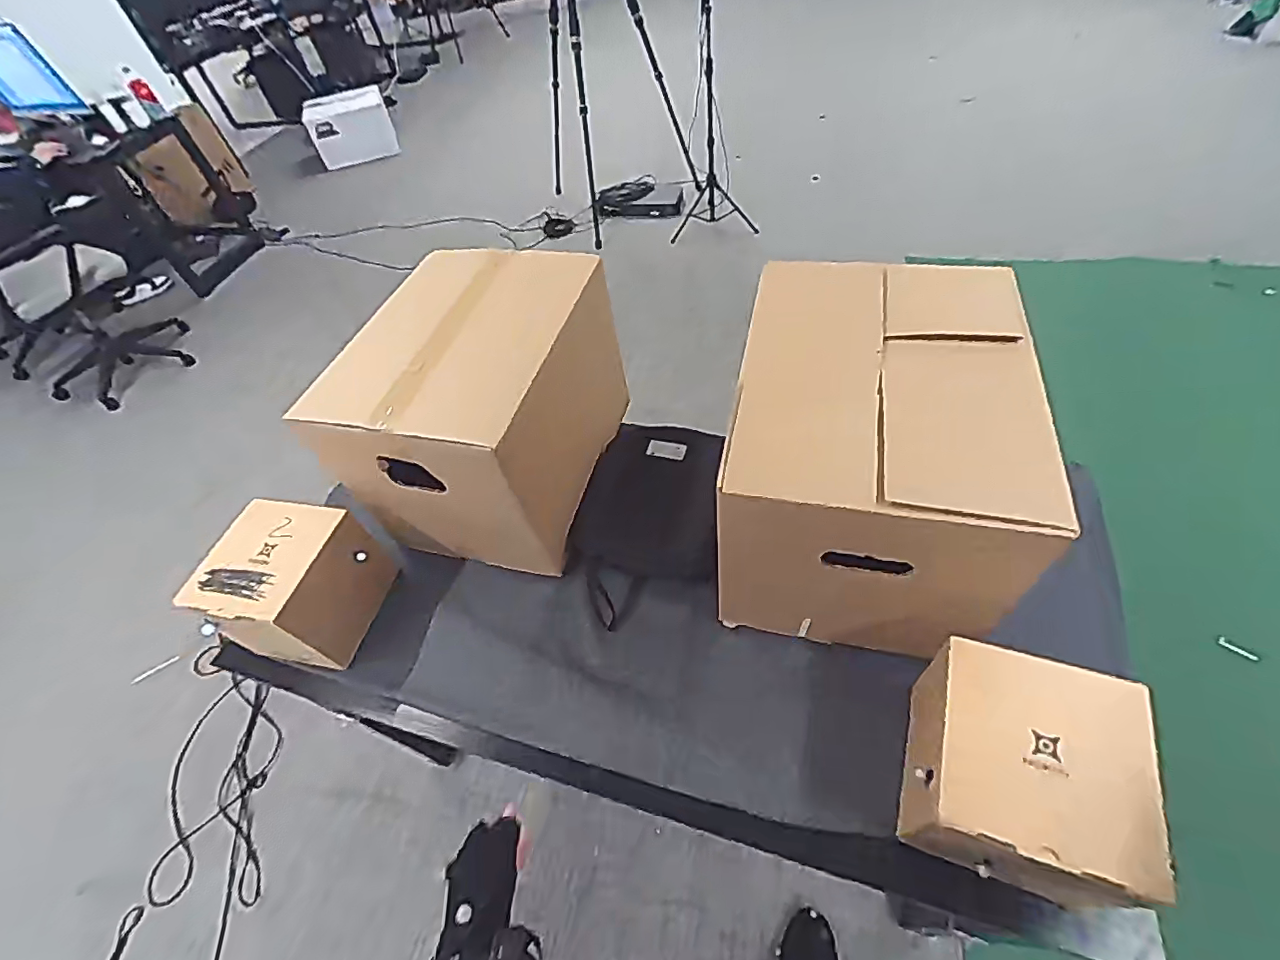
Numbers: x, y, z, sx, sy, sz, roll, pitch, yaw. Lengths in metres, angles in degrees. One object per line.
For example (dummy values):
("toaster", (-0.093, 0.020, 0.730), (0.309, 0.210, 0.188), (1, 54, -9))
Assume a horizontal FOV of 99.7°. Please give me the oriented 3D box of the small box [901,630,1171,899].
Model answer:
("small box", (0.376, 0.284, 0.548), (0.168, 0.176, 0.179), (12, 58, 20))
